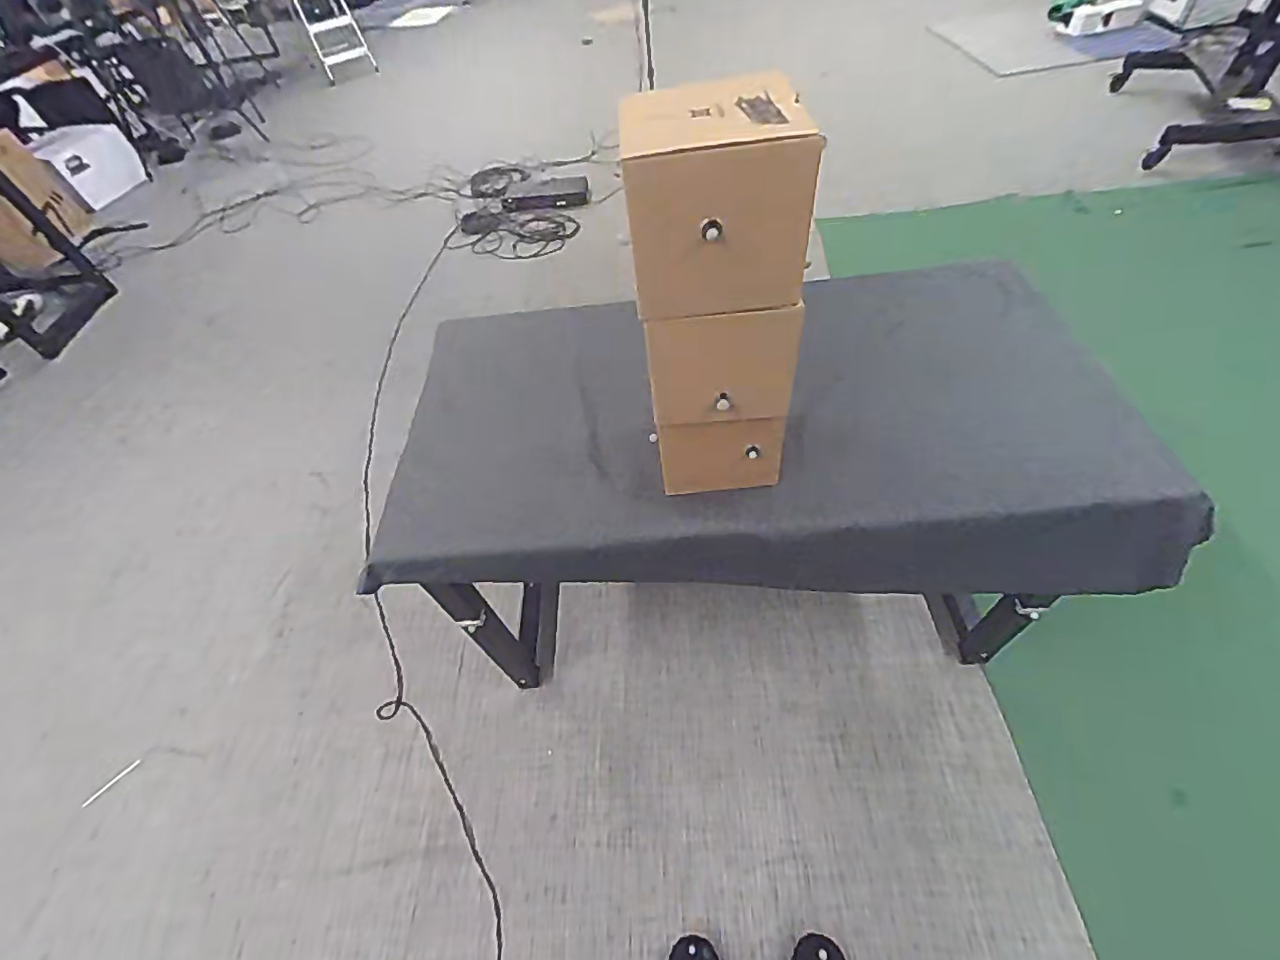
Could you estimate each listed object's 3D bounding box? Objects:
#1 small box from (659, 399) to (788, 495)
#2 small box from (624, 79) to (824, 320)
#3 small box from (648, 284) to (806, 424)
[{"bbox_3d":[0.119,-0.094,0.837,0.179,0.176,0.168,-7,50,4],"label":"small box"},{"bbox_3d":[0.078,-0.293,0.578,0.179,0.176,0.168,-5,51,4],"label":"small box"},{"bbox_3d":[0.102,-0.189,0.704,0.179,0.176,0.168,-3,51,4],"label":"small box"}]
